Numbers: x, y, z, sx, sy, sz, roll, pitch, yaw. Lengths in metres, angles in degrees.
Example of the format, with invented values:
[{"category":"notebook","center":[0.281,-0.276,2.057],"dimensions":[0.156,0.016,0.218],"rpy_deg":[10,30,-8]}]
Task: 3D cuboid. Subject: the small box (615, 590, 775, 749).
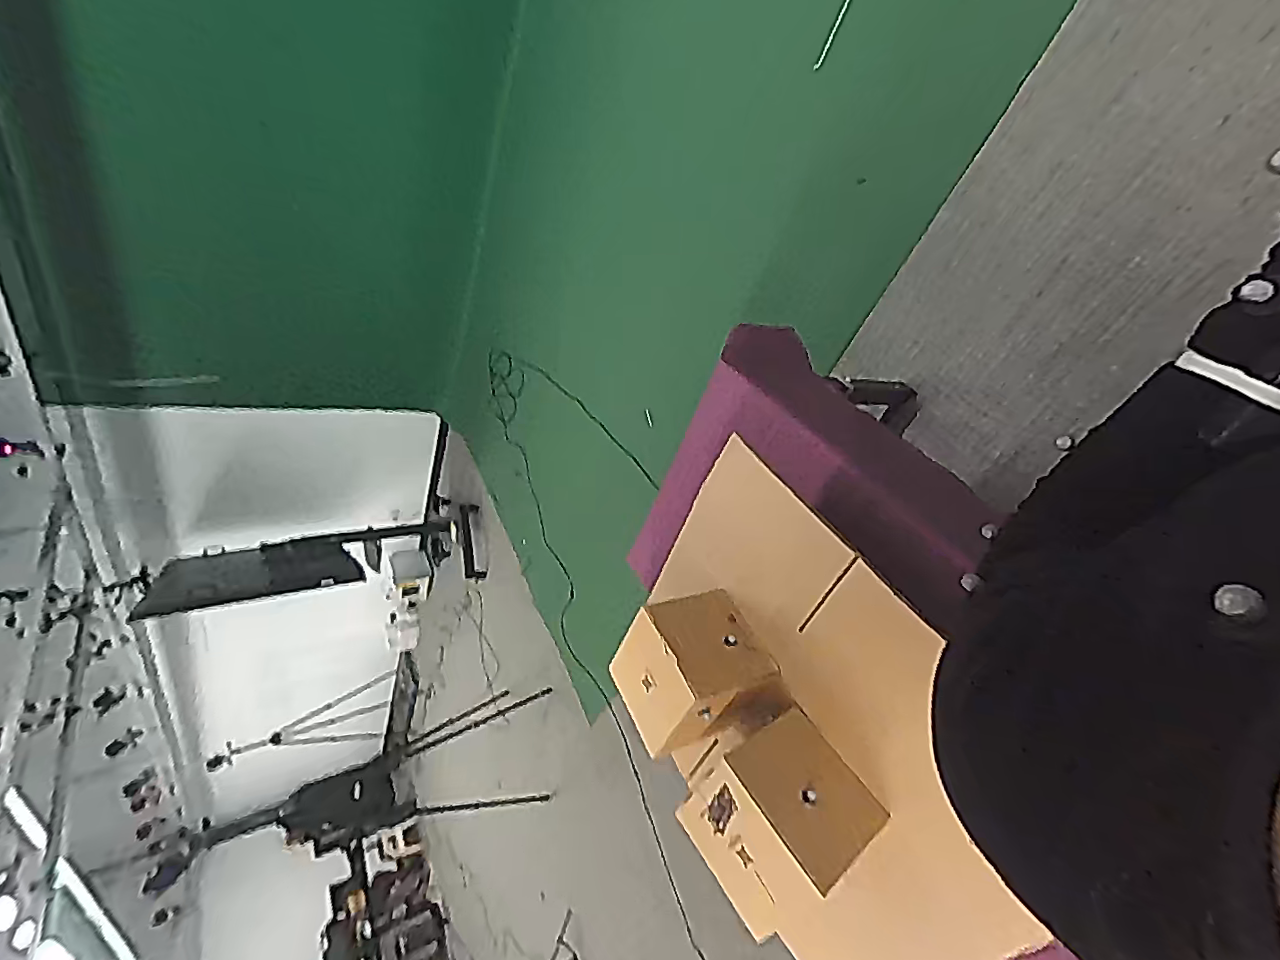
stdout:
[{"category":"small box","center":[0.087,0.303,0.885],"dimensions":[0.168,0.176,0.179],"rpy_deg":[56,134,39]}]
